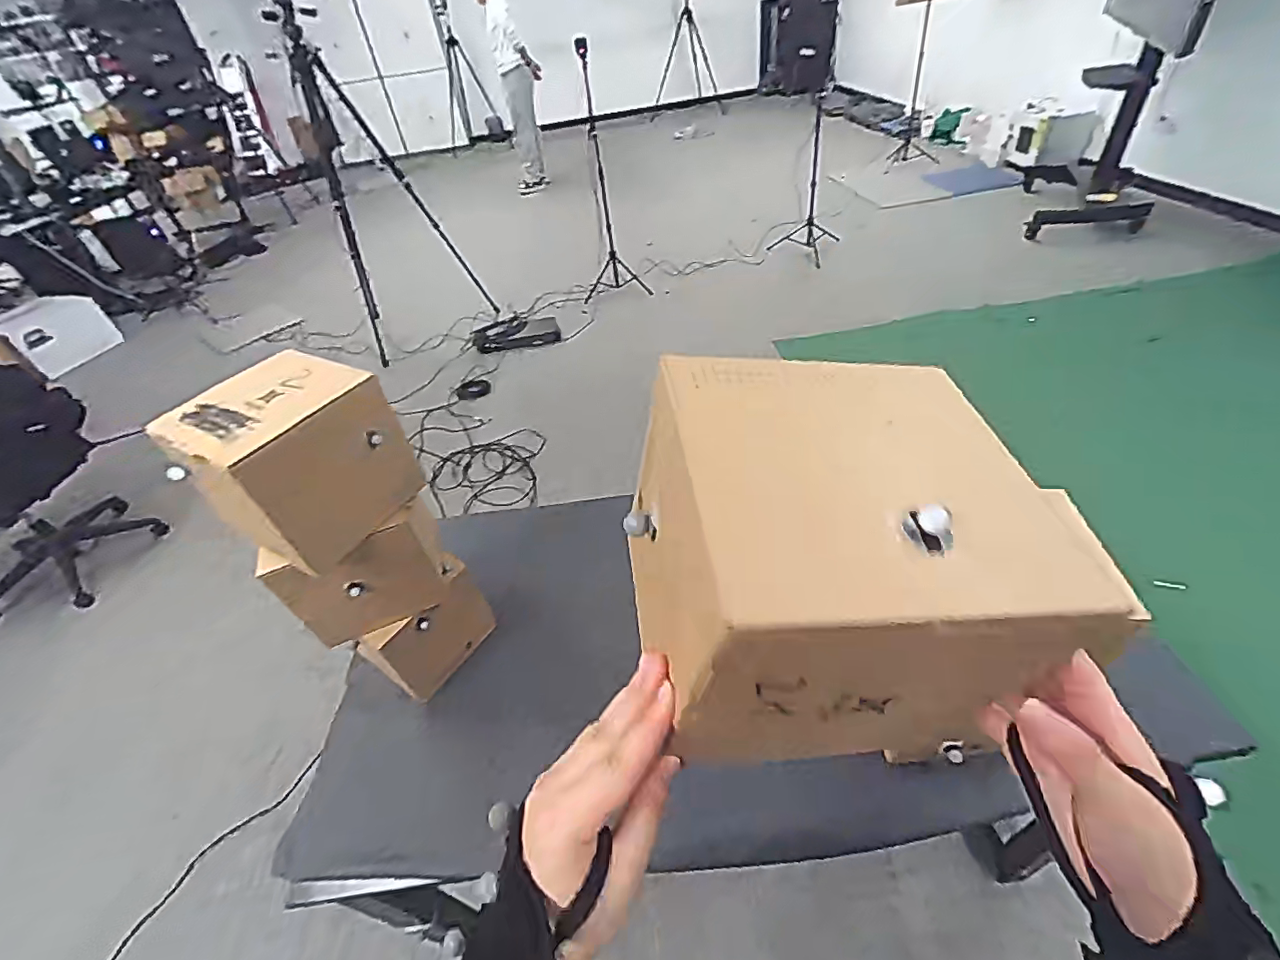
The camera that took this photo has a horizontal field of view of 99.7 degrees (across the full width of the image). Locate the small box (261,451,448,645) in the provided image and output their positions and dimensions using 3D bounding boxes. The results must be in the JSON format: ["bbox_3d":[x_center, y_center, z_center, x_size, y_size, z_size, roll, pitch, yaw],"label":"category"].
[{"bbox_3d":[-0.383,0.094,0.752,0.179,0.176,0.168,-22,44,-13],"label":"small box"}]

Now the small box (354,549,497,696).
[{"bbox_3d":[-0.363,0.211,0.867,0.179,0.176,0.168,21,51,29],"label":"small box"}]

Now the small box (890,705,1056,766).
[{"bbox_3d":[0.384,0.238,0.697,0.168,0.176,0.179,-9,42,2],"label":"small box"}]

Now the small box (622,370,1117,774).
[{"bbox_3d":[0.091,0.052,0.314,0.179,0.168,0.176,0,49,-10],"label":"small box"}]

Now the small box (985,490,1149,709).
[{"bbox_3d":[0.364,0.128,0.578,0.179,0.176,0.168,-2,42,10],"label":"small box"}]
